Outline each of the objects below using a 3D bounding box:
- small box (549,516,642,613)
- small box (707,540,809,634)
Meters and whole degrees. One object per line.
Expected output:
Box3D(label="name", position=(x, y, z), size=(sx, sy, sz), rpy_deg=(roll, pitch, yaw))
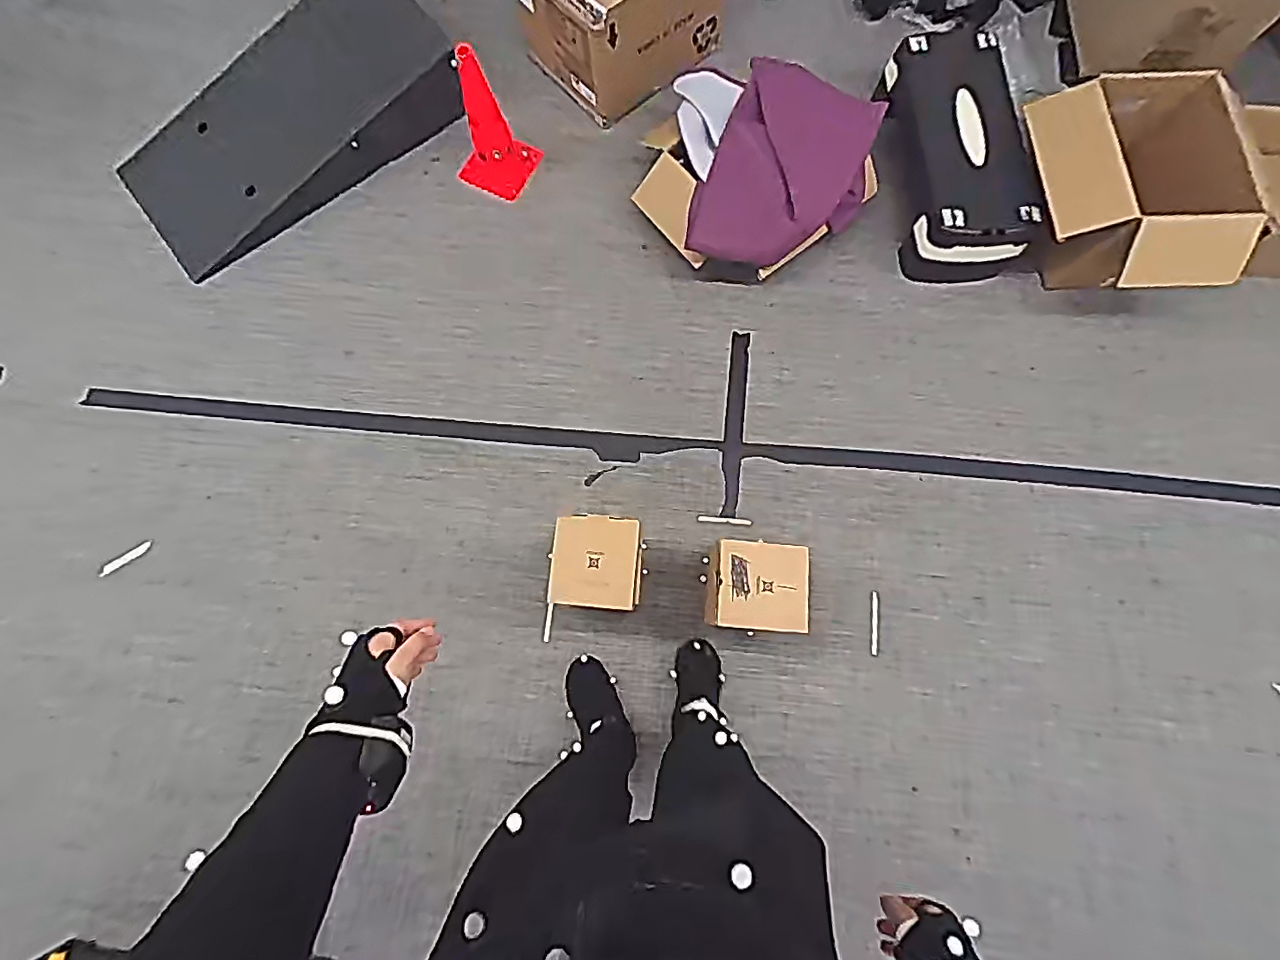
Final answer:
Box3D(label="small box", position=(-0.084, 0.178, 1.119), size=(0.168, 0.176, 0.179), rpy_deg=(4, 78, 3))
Box3D(label="small box", position=(0.235, 0.222, 1.108), size=(0.179, 0.176, 0.168), rpy_deg=(5, 77, 0))
